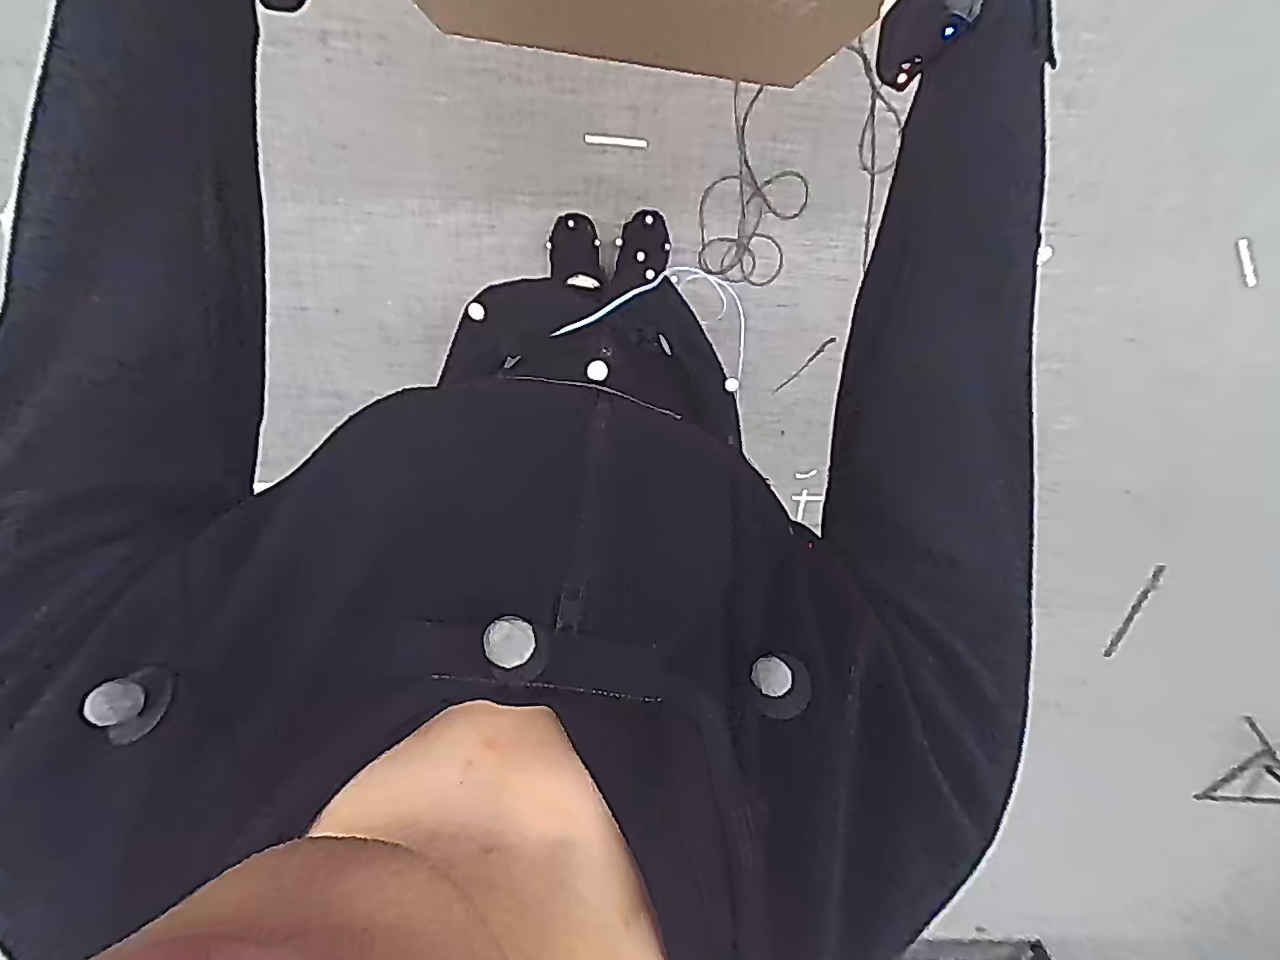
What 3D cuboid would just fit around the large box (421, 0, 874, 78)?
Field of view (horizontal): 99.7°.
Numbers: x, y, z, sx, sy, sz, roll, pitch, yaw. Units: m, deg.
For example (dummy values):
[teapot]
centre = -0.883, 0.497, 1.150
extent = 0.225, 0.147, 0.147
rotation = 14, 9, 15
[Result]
[large box]
centre = -0.001, -0.556, 0.418
extent = 0.408, 0.320, 0.320
rotation = 5, 116, -5
